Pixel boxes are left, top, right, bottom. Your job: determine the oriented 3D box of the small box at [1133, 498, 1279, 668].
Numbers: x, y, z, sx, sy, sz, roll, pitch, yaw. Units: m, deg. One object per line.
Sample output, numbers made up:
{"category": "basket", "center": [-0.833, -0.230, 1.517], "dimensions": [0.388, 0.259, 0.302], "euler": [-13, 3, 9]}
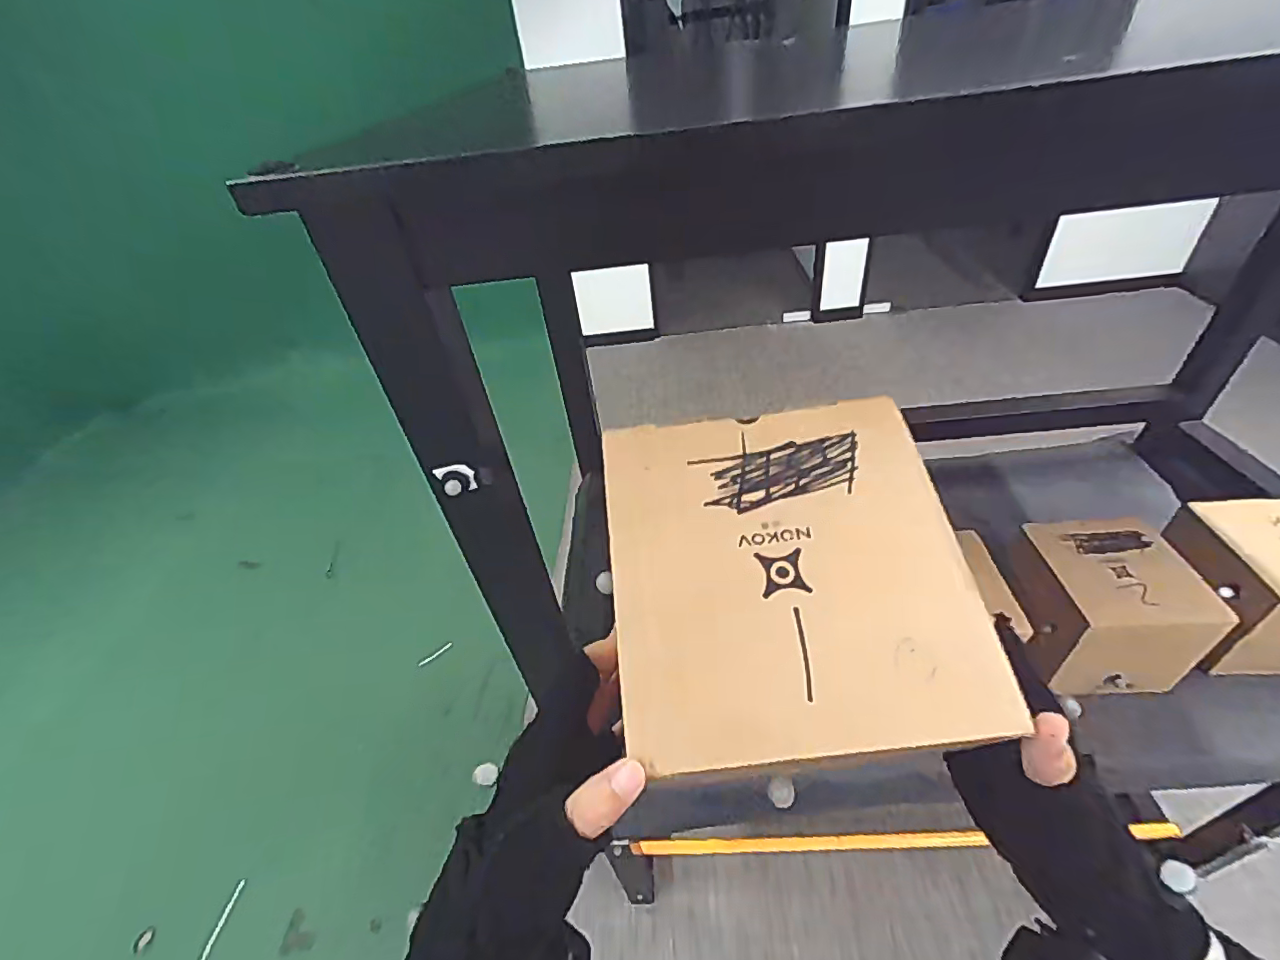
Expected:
{"category": "small box", "center": [0.853, 0.146, 0.747], "dimensions": [0.168, 0.176, 0.179], "euler": [-2, 40, 7]}
